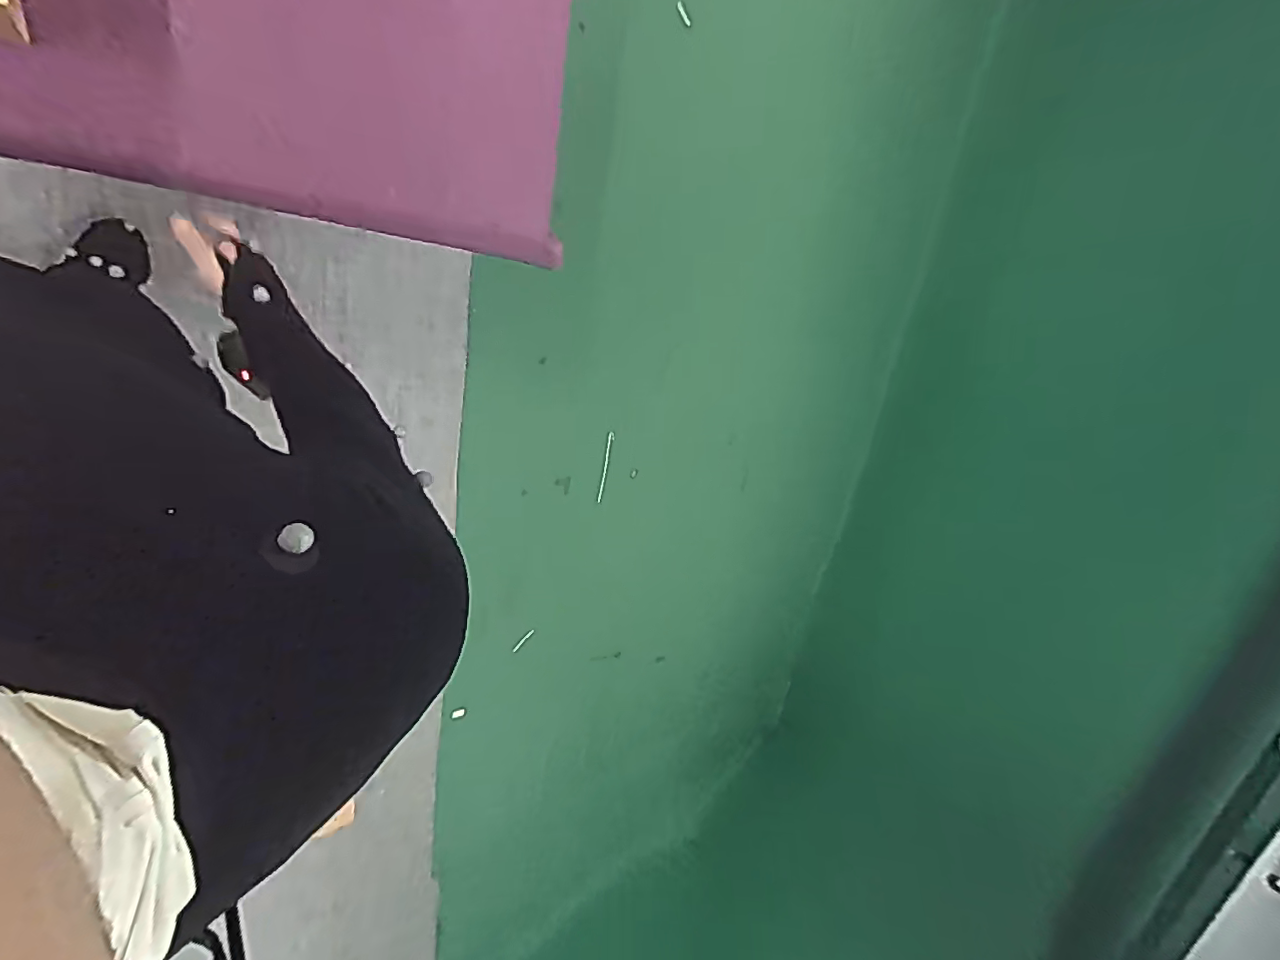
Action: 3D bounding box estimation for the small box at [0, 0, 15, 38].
[{"bbox_3d":[-0.612,-0.478,0.403,0.168,0.176,0.179,-8,116,-41],"label":"small box"}]
